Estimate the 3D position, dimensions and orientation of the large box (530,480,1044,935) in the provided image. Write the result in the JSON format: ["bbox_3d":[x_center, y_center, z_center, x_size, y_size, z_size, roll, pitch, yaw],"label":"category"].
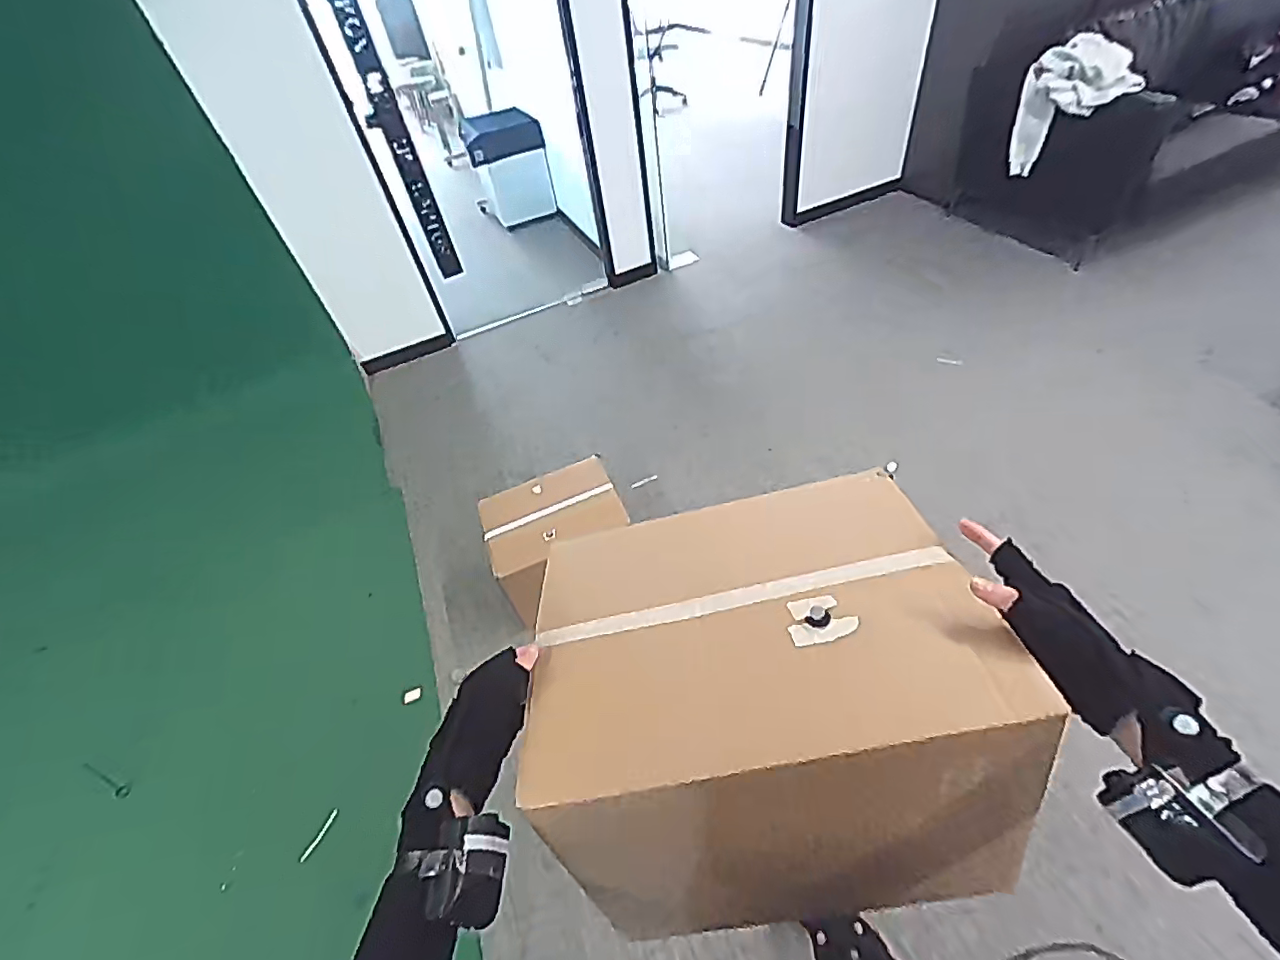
[{"bbox_3d":[0.130,0.244,0.610,0.408,0.320,0.320,-12,33,5],"label":"large box"}]
